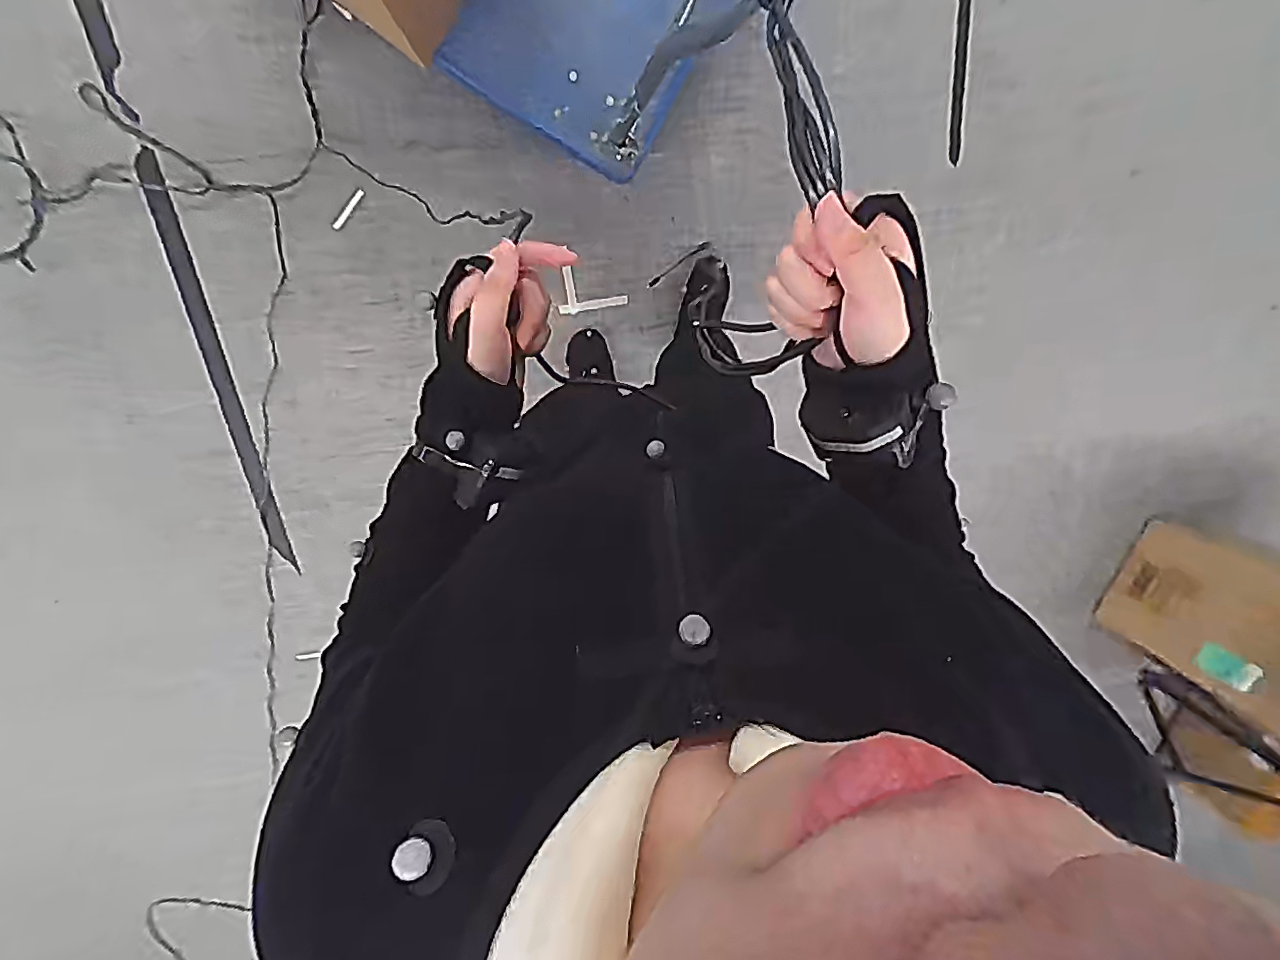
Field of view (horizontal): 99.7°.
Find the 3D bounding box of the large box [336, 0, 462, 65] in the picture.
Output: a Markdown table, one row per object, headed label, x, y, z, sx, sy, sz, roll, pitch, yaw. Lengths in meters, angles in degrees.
| label | x | y | z | sx | sy | sz | roll | pitch | yaw |
| --- | --- | --- | --- | --- | --- | --- | --- | --- | --- |
| large box | -0.454 | -0.927 | 0.777 | 0.408 | 0.320 | 0.320 | 31 | 102 | -17 |
